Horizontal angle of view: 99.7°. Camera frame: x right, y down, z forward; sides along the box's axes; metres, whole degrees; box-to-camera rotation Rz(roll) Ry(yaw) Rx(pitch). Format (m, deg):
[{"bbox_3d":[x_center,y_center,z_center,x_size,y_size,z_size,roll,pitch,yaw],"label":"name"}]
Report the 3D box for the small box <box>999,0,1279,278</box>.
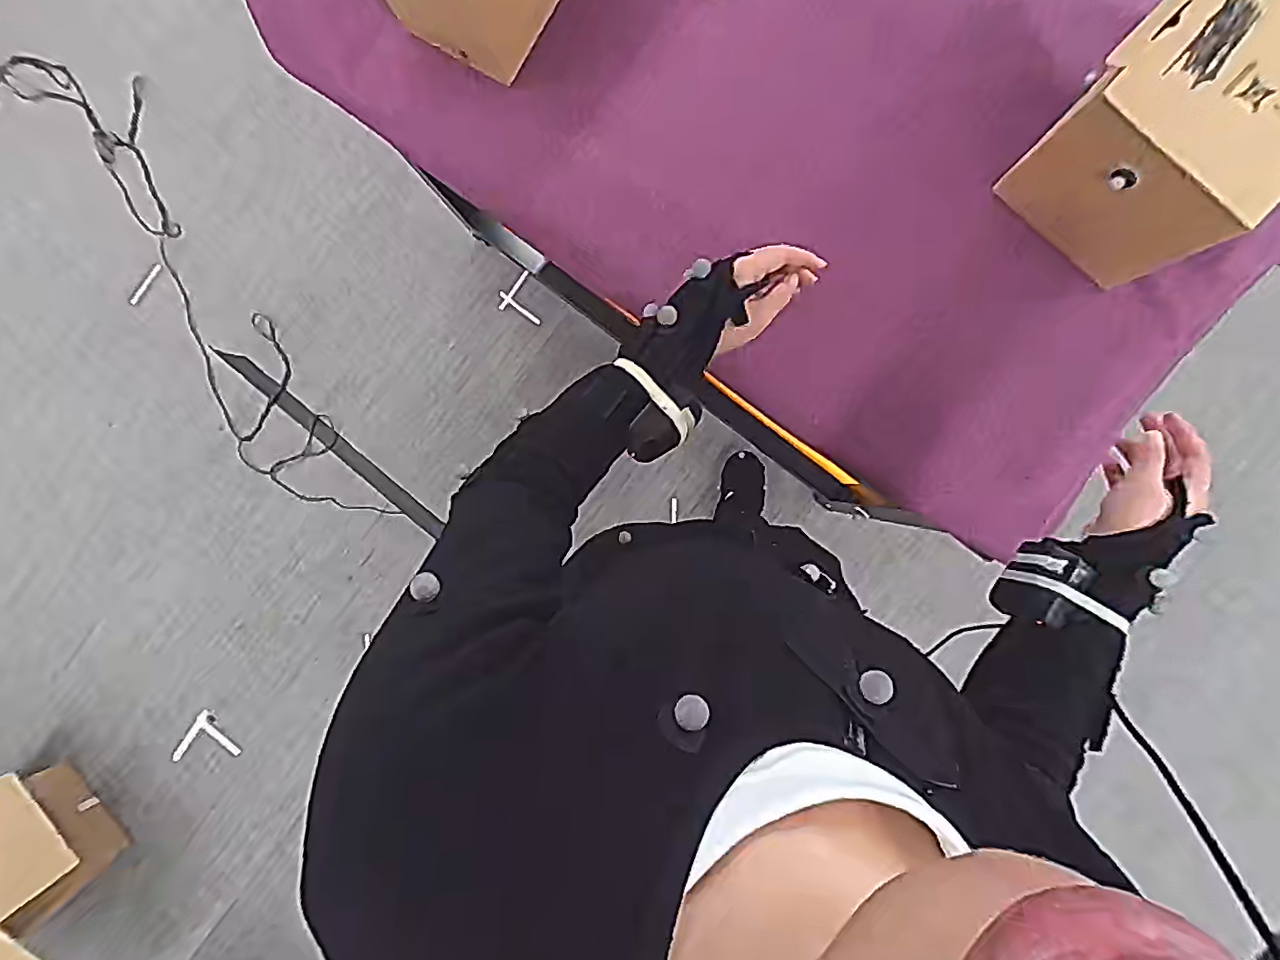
[{"bbox_3d":[0.516,-0.336,0.539,0.179,0.176,0.168,44,95,2],"label":"small box"}]
